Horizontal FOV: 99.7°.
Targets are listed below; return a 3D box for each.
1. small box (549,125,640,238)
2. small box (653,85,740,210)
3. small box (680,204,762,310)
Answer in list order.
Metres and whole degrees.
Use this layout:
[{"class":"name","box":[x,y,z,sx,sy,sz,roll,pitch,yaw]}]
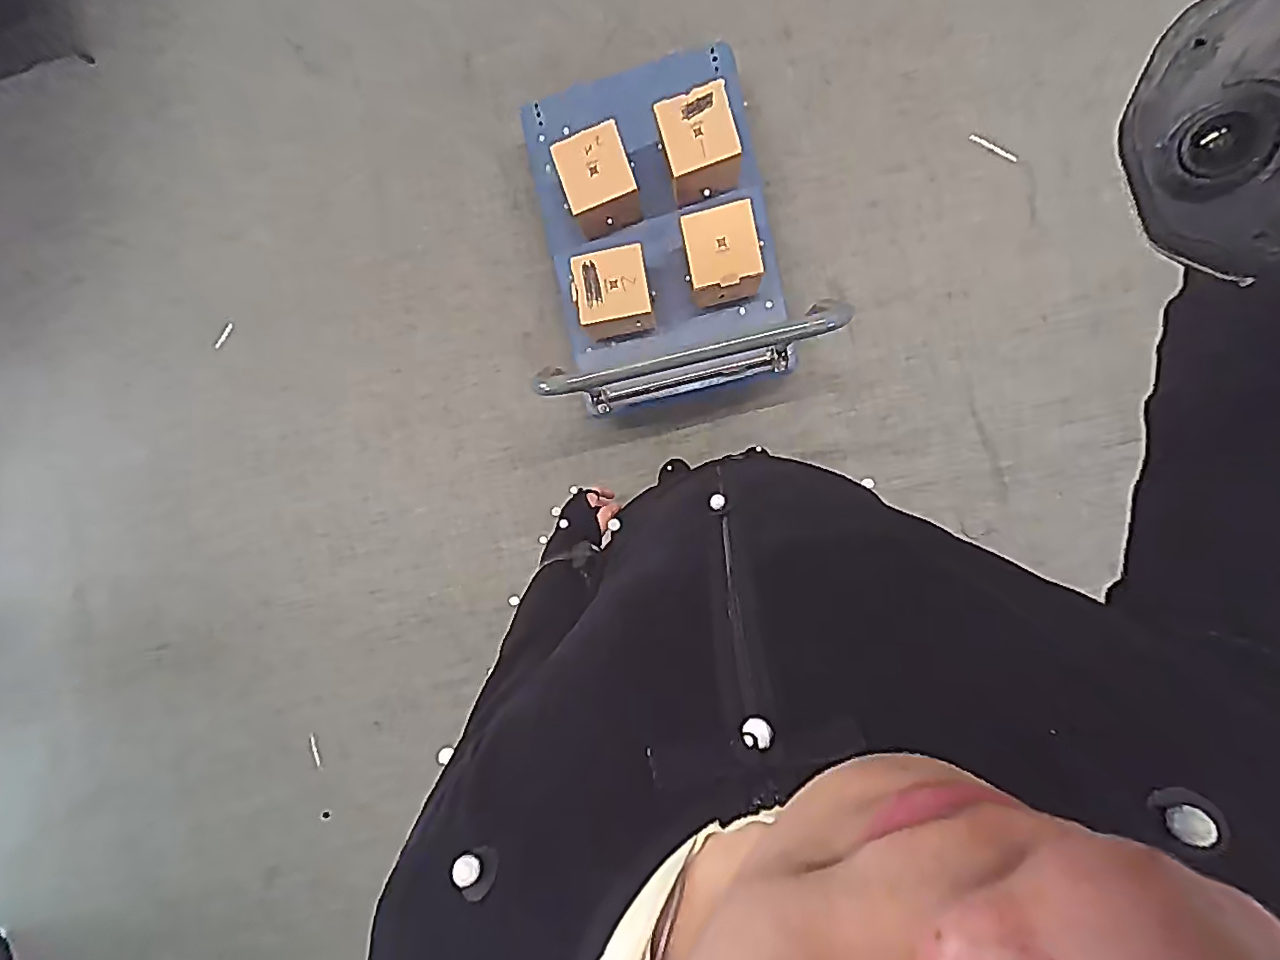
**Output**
[{"class":"small box","box":[-0.107,-0.732,1.355,0.168,0.176,0.179,-19,91,6]},{"class":"small box","box":[0.137,-0.804,1.325,0.168,0.176,0.179,-16,92,7]},{"class":"small box","box":[0.195,-0.542,1.334,0.168,0.176,0.179,-12,92,7]}]
